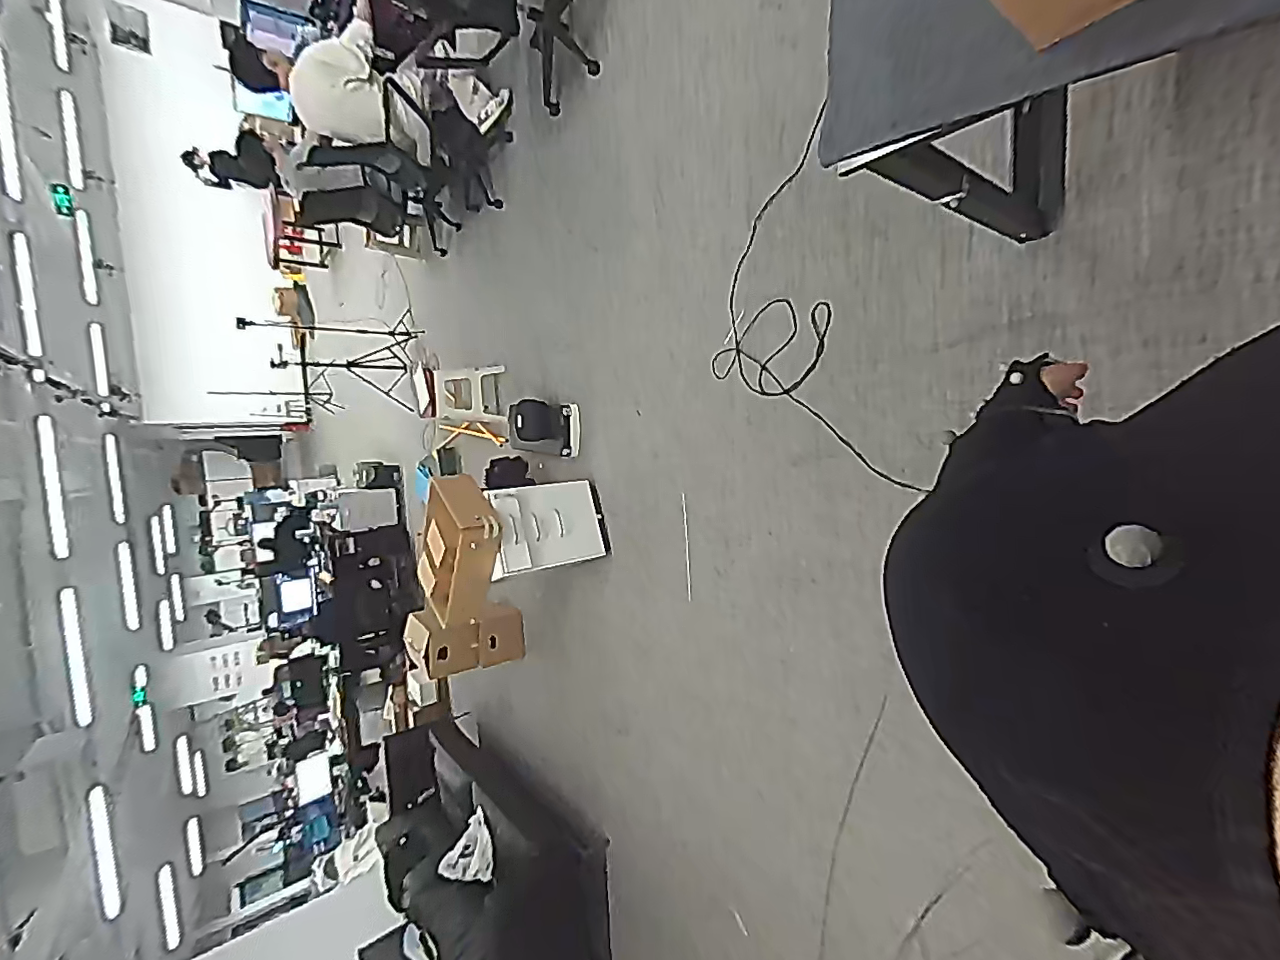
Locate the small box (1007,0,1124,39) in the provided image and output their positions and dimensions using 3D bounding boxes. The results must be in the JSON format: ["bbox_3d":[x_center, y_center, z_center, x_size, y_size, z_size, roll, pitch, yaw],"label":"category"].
[{"bbox_3d":[0.443,-0.586,0.516,0.168,0.176,0.179,2,97,53],"label":"small box"}]
